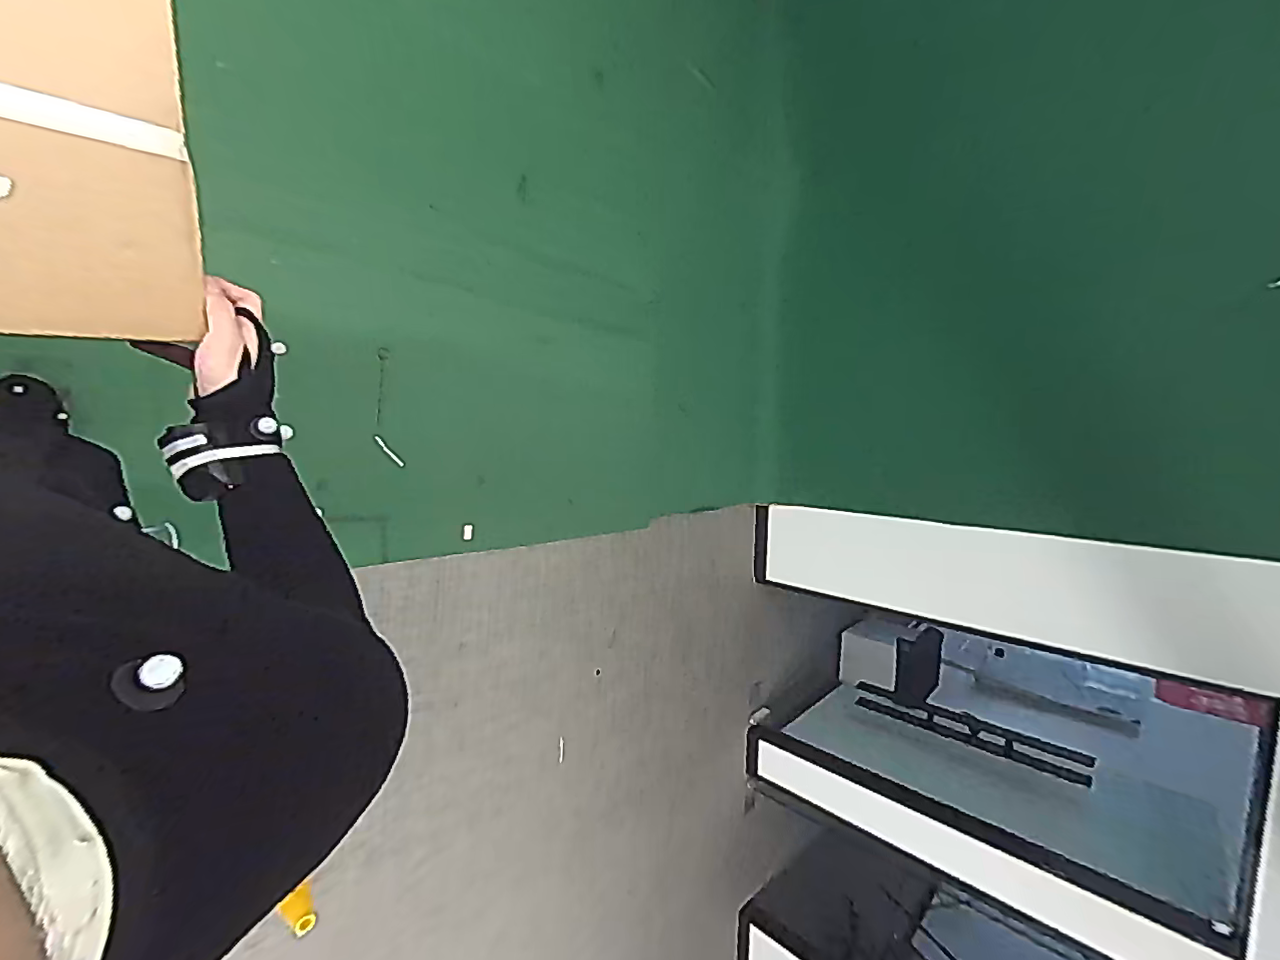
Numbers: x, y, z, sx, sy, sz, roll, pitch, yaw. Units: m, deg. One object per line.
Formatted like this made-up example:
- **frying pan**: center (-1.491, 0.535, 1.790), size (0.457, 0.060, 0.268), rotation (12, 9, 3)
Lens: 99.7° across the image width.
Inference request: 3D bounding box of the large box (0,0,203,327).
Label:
- **large box**: center (-0.625, -0.286, 0.388), size (0.408, 0.320, 0.320), rotation (-13, 113, -51)
